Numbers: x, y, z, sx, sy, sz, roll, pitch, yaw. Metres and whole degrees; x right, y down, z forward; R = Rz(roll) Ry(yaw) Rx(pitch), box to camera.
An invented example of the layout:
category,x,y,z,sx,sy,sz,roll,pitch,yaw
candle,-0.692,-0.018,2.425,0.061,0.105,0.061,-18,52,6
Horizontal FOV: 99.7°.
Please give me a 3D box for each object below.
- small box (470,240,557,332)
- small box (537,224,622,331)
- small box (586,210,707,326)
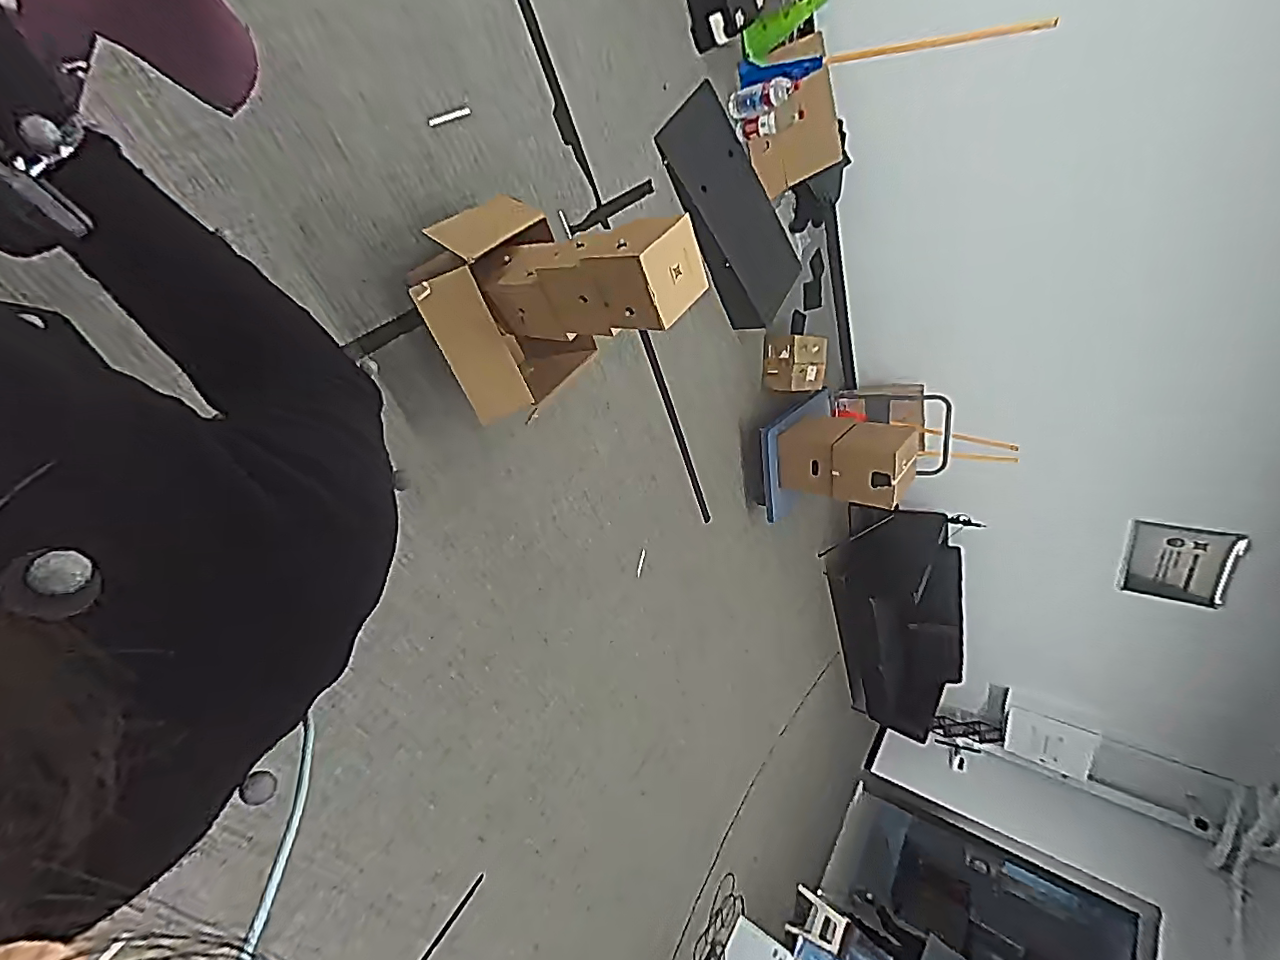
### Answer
category,x,y,z,sx,sy,sz,roll,pitch,yaw
small box,-0.330,-0.529,1.488,0.179,0.176,0.168,46,67,-48
small box,-0.107,-0.465,1.253,0.168,0.176,0.179,-50,136,-25
small box,0.009,-0.442,1.139,0.179,0.176,0.168,-50,136,-26
